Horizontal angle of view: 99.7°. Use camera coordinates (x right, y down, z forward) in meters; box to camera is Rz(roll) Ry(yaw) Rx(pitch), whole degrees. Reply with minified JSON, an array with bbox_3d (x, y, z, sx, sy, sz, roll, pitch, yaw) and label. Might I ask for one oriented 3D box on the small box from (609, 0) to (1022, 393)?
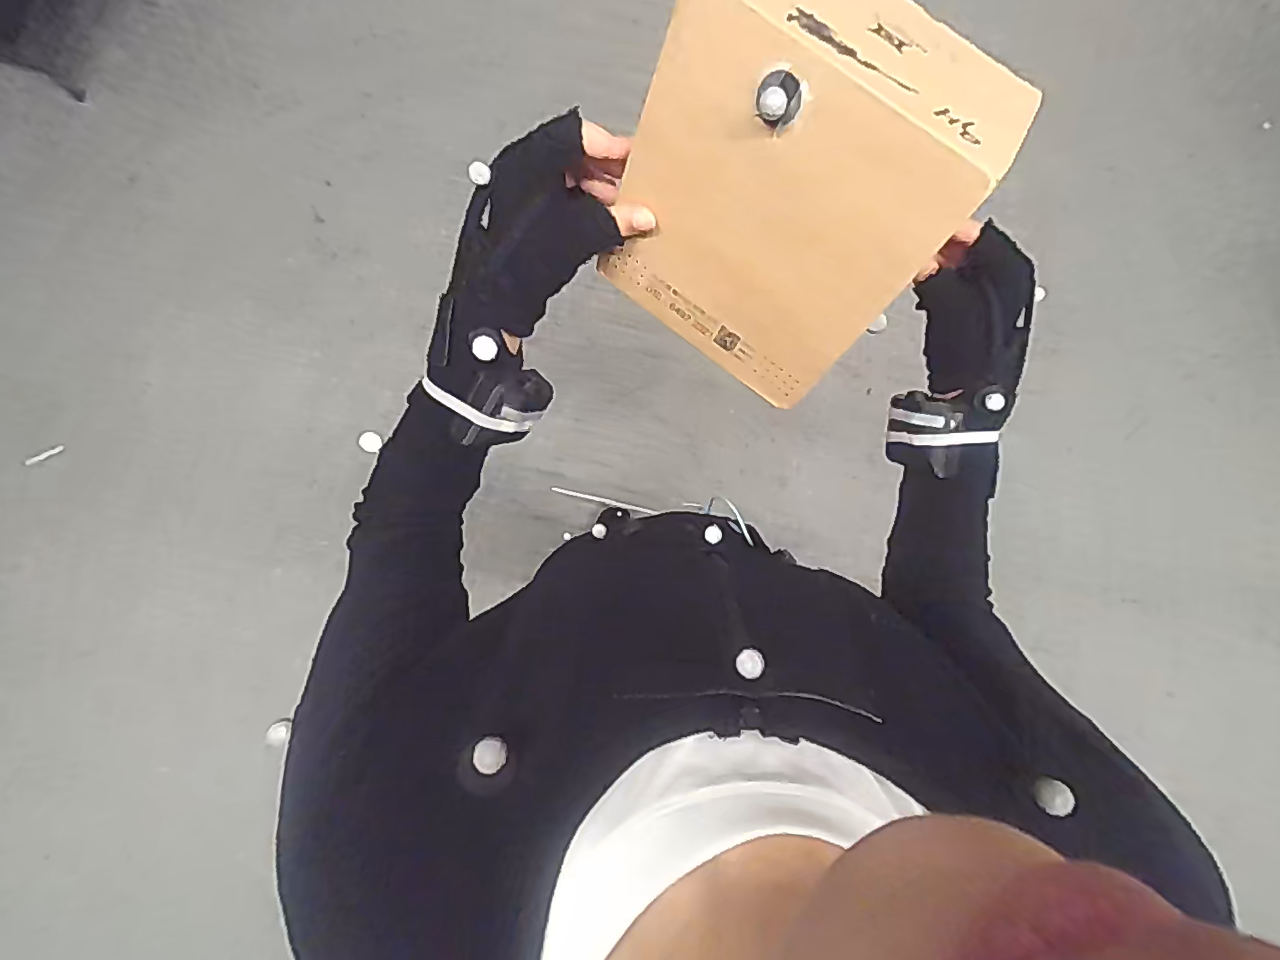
[{"bbox_3d":[0.101,-0.193,0.352,0.168,0.176,0.179,37,54,4],"label":"small box"}]
